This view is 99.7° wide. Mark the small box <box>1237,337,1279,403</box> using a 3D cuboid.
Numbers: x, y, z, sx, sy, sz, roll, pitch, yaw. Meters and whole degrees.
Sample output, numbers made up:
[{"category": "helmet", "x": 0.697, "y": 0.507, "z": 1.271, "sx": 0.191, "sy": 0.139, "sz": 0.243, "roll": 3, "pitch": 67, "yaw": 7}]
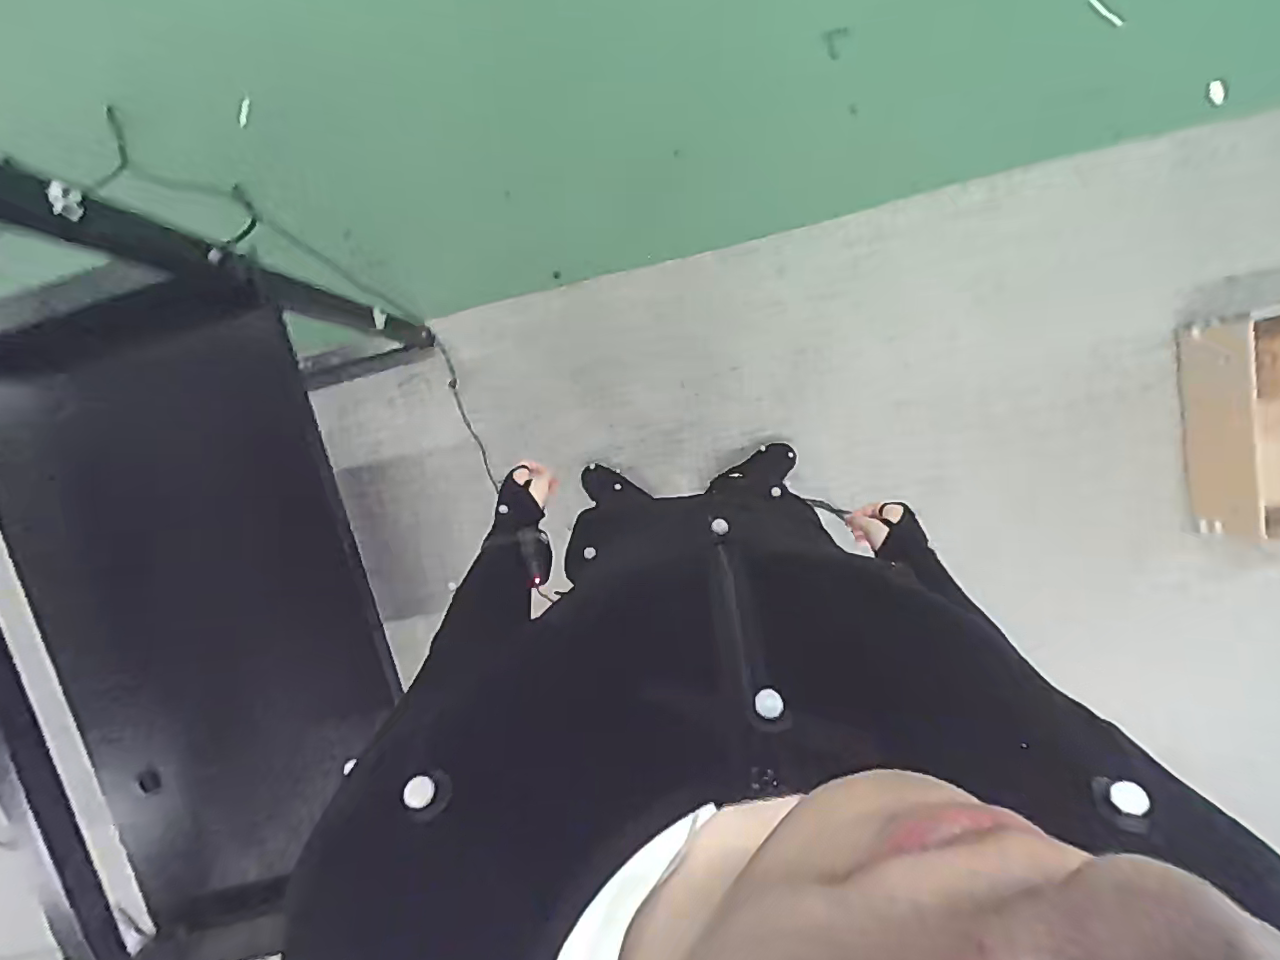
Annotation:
[{"category": "small box", "x": 1.727, "y": -0.287, "z": 1.403, "sx": 0.179, "sy": 0.176, "sz": 0.168, "roll": -1, "pitch": 97, "yaw": 1}]
